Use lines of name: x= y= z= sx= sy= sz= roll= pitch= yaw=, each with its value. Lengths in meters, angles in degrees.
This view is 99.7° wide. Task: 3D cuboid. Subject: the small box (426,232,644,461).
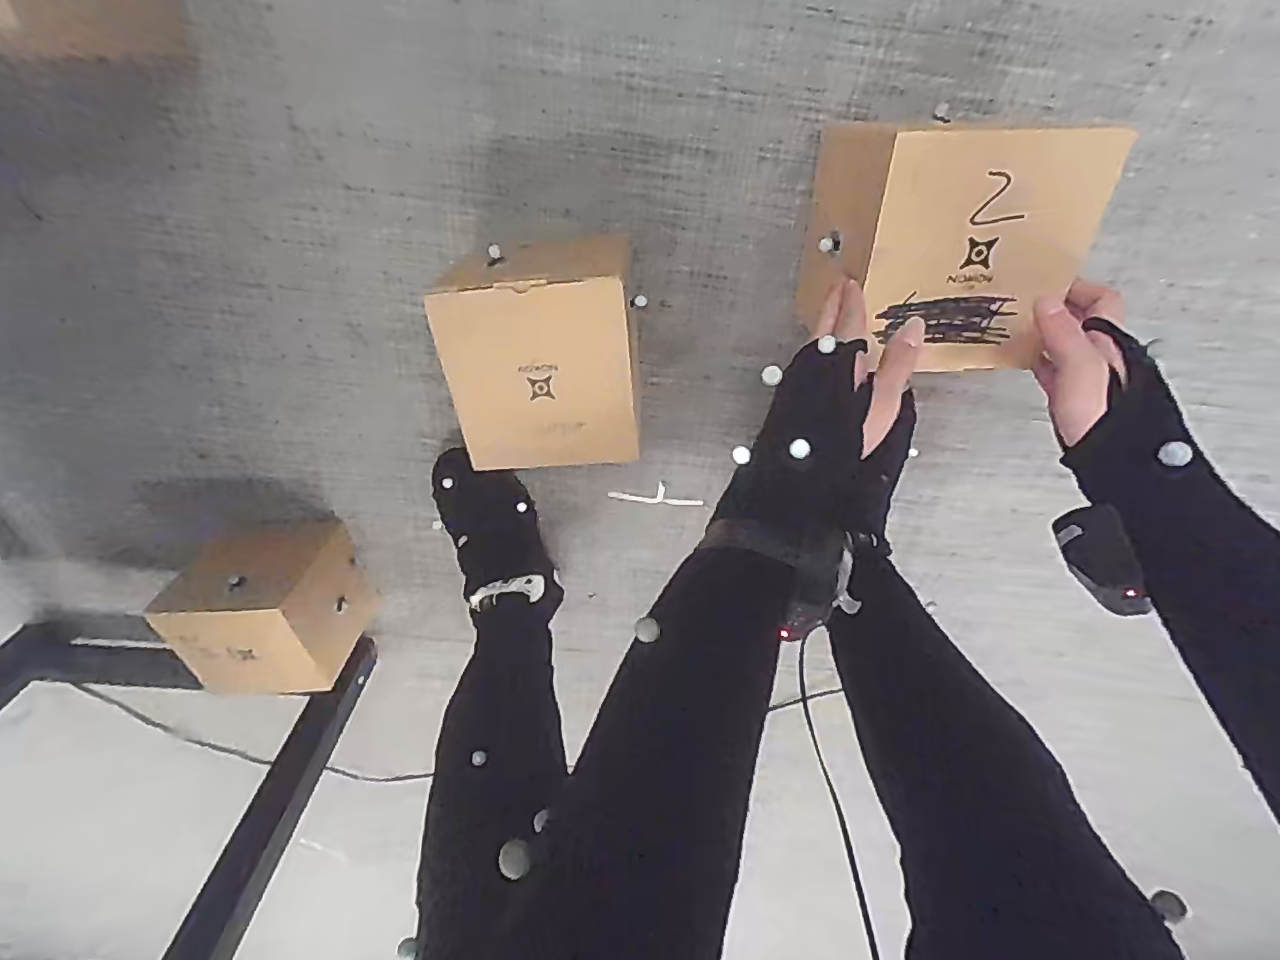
small box: x=-0.083 y=-0.138 z=0.534 sx=0.168 sy=0.176 sz=0.179 roll=-3 pitch=125 yaw=3

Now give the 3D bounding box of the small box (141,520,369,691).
small box: x=-0.503 y=0.168 z=0.747 sx=0.179 sy=0.176 sz=0.168 roll=-2 pitch=124 yaw=3
